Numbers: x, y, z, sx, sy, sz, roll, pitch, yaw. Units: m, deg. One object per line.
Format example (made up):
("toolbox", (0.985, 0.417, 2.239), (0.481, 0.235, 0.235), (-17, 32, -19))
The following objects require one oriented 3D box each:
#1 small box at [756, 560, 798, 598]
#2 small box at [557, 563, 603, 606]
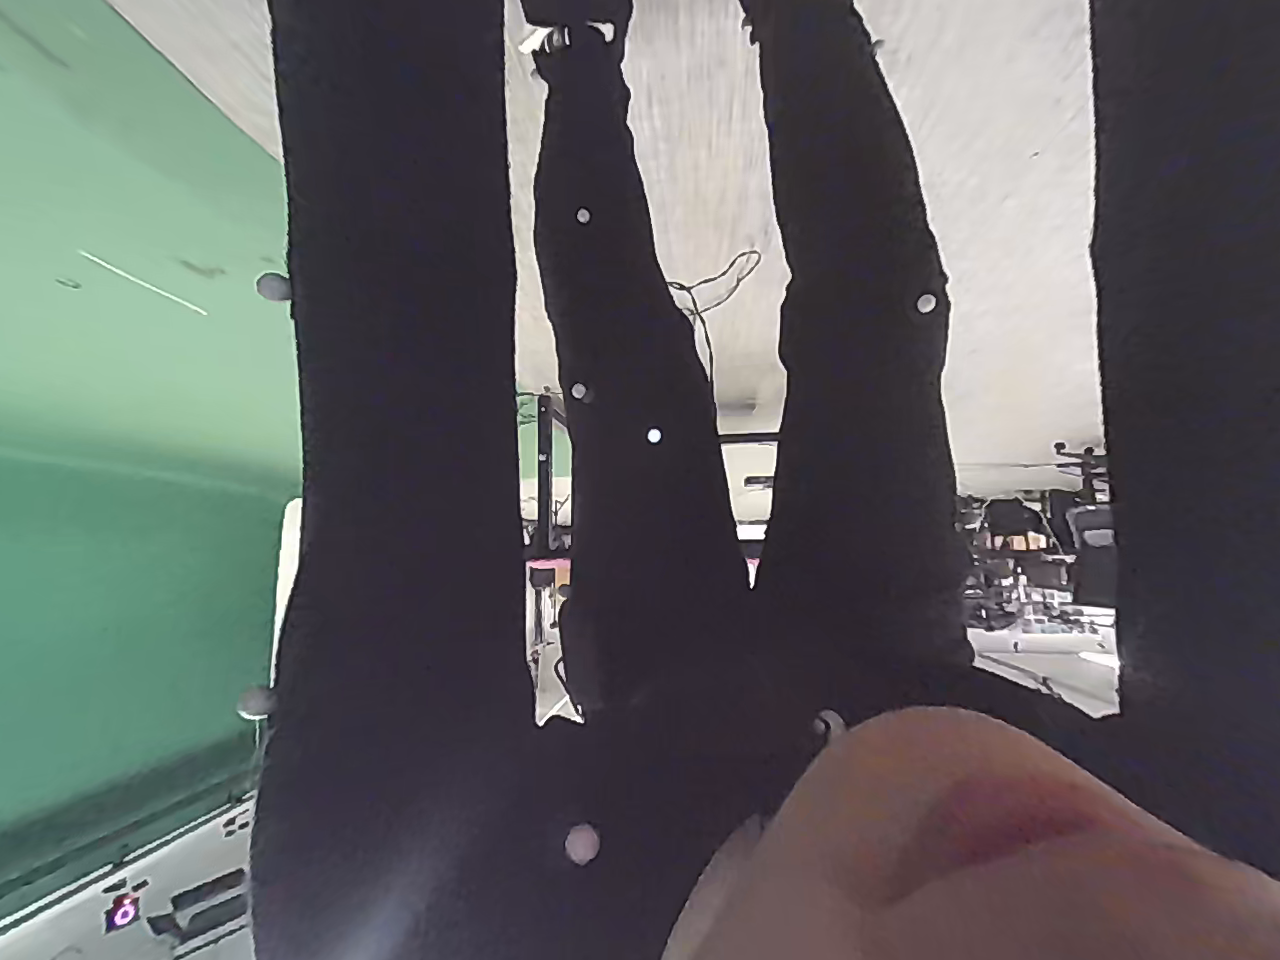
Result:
("small box", (0.634, 0.461, 2.521), (0.168, 0.176, 0.179), (-1, 171, 5))
("small box", (-0.253, 0.443, 2.309), (0.168, 0.176, 0.179), (-3, 172, 6))
